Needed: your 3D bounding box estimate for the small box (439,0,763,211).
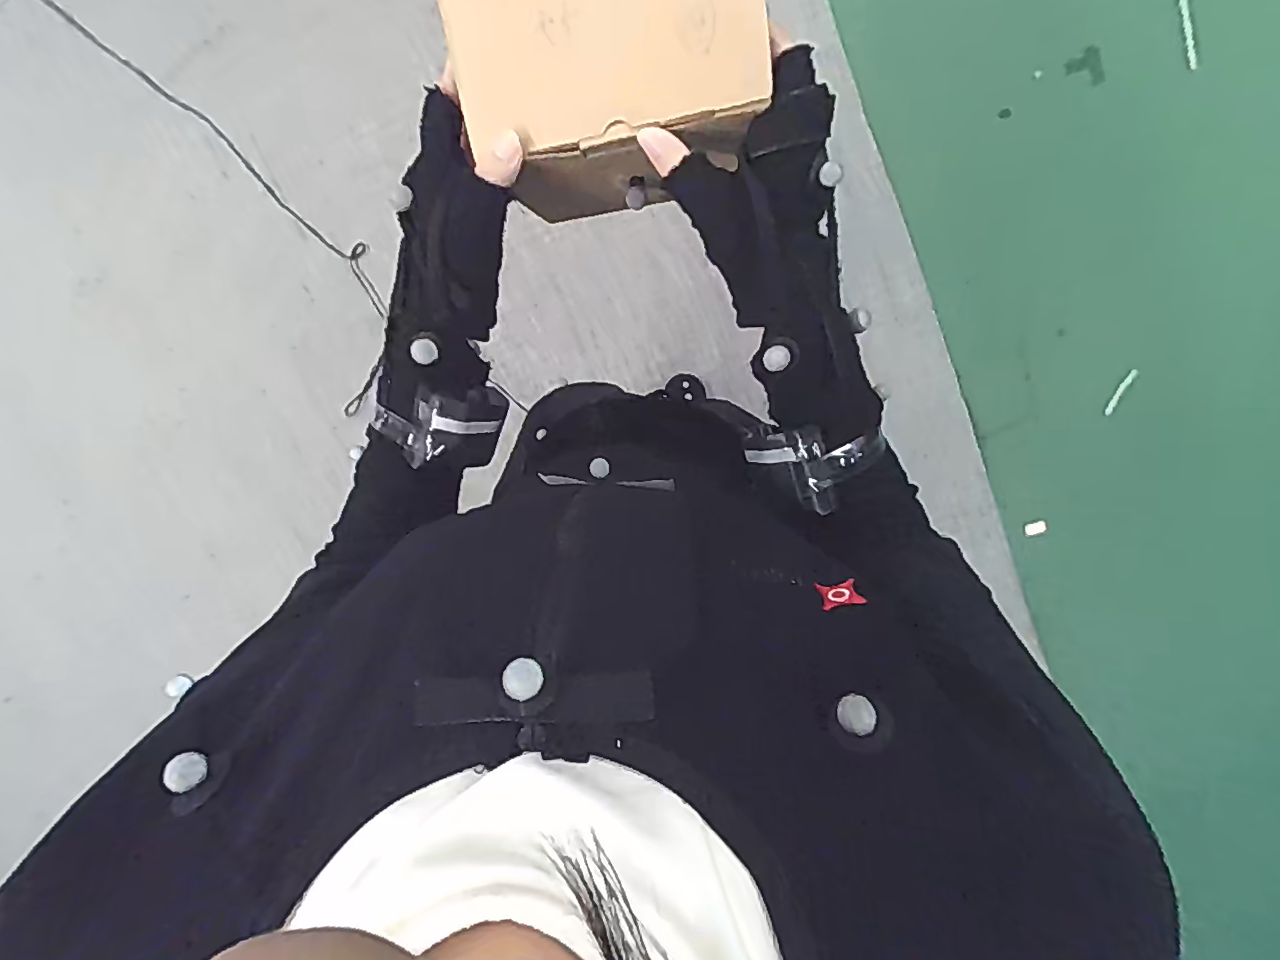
[{"bbox_3d":[-0.018,-0.288,0.351,0.168,0.176,0.179,-8,106,8],"label":"small box"}]
